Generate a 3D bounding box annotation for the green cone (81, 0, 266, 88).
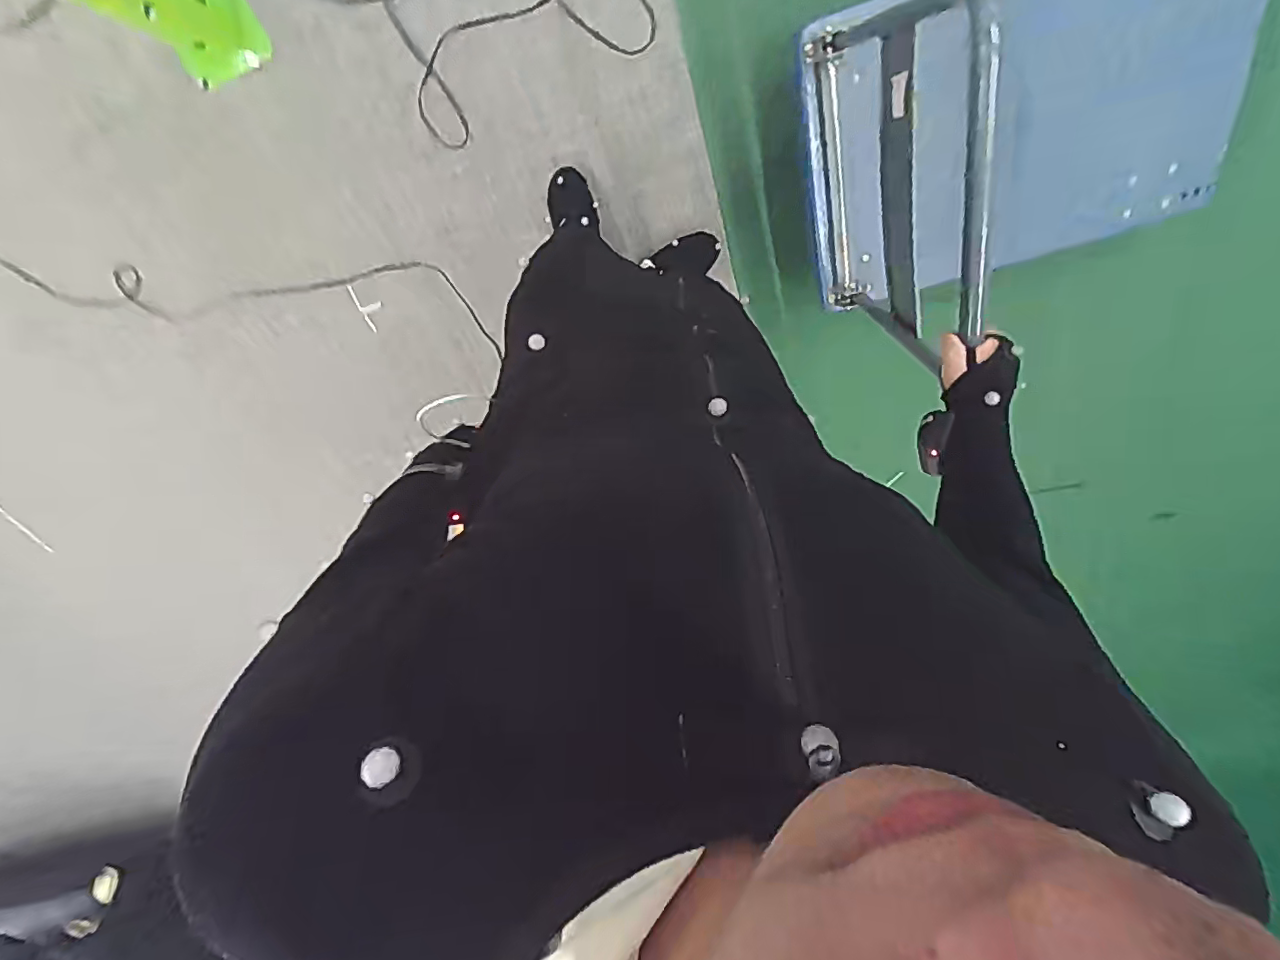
[{"bbox_3d":[-0.914,-0.876,0.978,0.200,0.368,0.202,-19,119,10],"label":"green cone"}]
